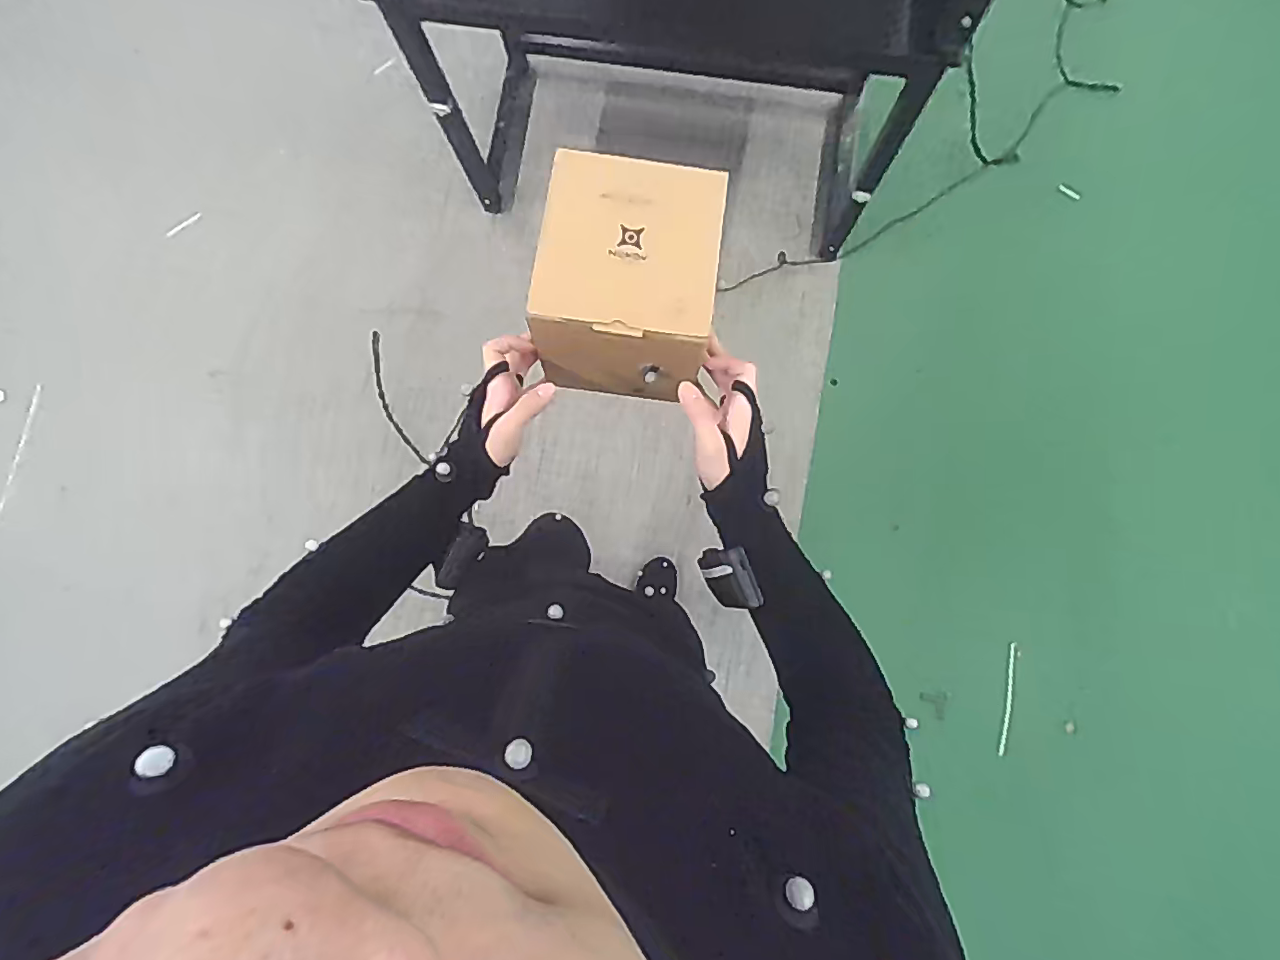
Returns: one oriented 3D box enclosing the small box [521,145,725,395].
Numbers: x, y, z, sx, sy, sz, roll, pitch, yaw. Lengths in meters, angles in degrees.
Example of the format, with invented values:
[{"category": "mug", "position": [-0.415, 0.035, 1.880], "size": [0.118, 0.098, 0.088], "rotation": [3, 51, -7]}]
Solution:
[{"category": "small box", "position": [-0.015, -0.204, 0.568], "size": [0.168, 0.176, 0.179], "rotation": [8, 78, -1]}]
